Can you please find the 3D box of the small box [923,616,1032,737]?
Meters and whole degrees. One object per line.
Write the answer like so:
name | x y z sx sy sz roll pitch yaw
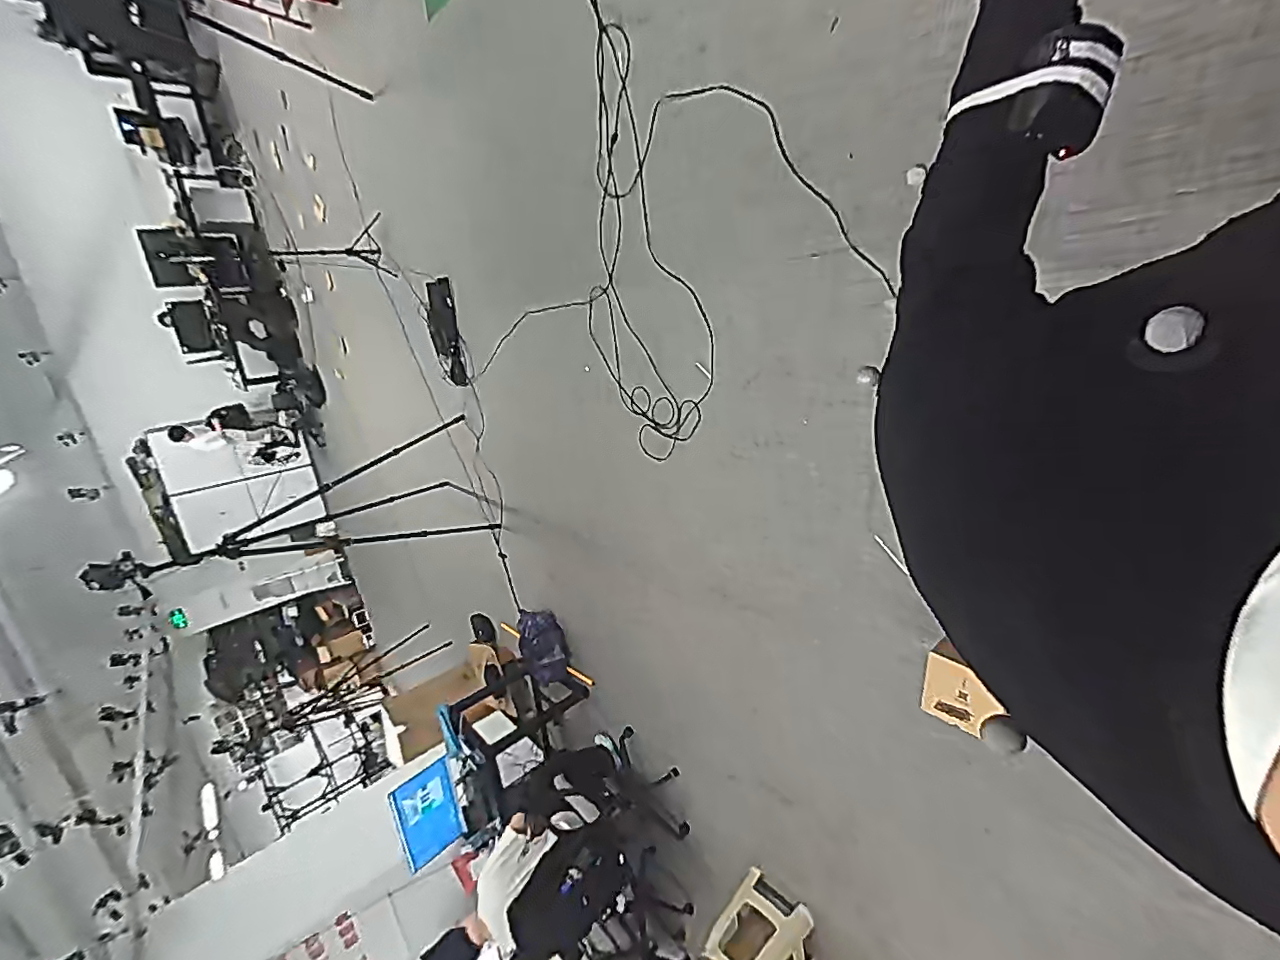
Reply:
small box | 0.805 0.460 1.291 0.168 0.176 0.179 19 120 46
